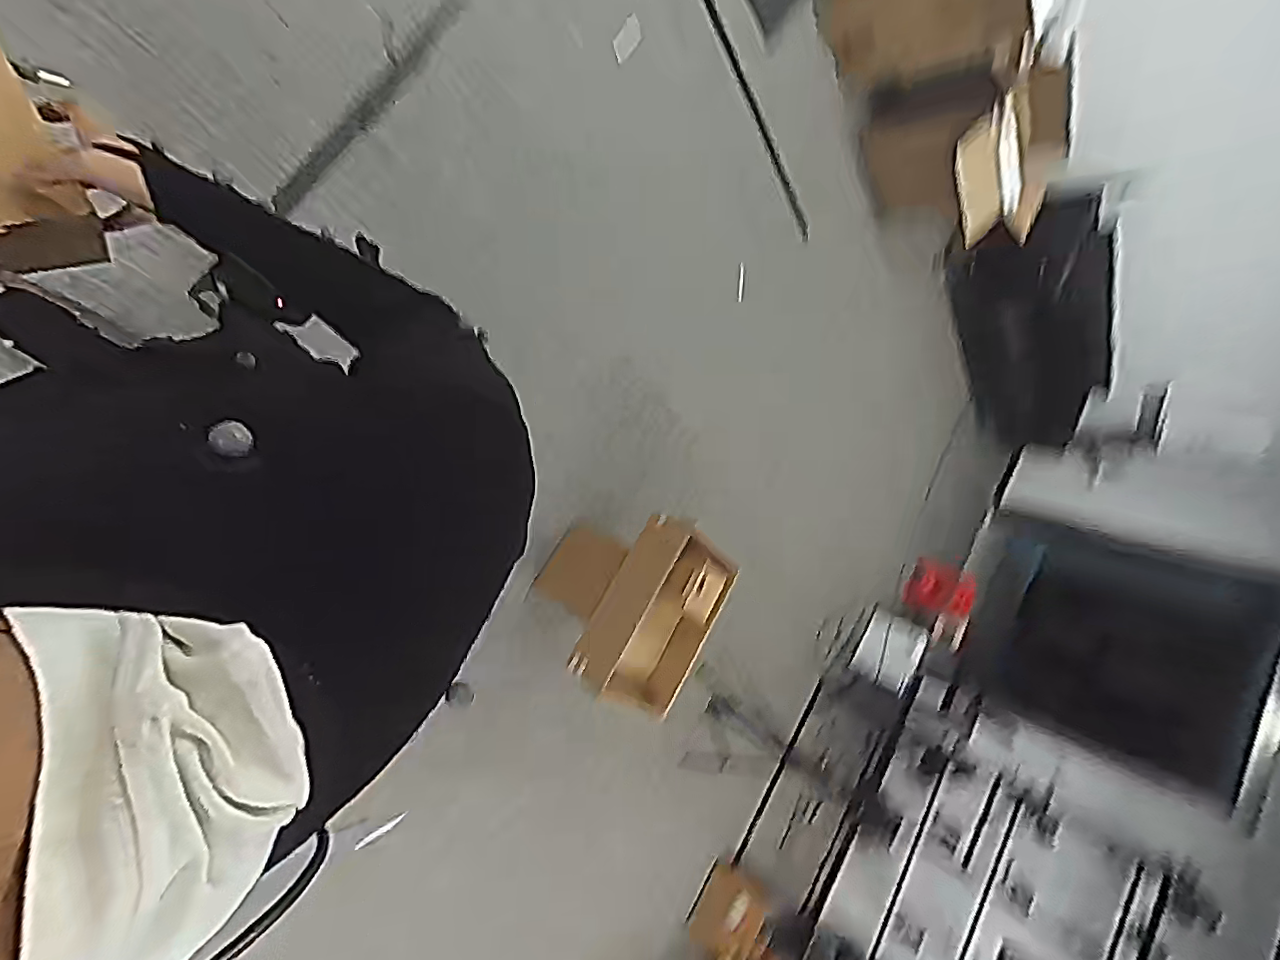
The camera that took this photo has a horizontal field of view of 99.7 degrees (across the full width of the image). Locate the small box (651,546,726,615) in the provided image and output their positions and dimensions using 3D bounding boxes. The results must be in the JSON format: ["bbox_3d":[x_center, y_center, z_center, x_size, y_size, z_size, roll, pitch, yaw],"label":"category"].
[{"bbox_3d":[0.168,0.348,1.907,0.179,0.176,0.168,40,75,-45],"label":"small box"}]

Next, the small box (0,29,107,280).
[{"bbox_3d":[-0.599,-0.273,0.453,0.168,0.176,0.179,-30,115,-36],"label":"small box"}]
